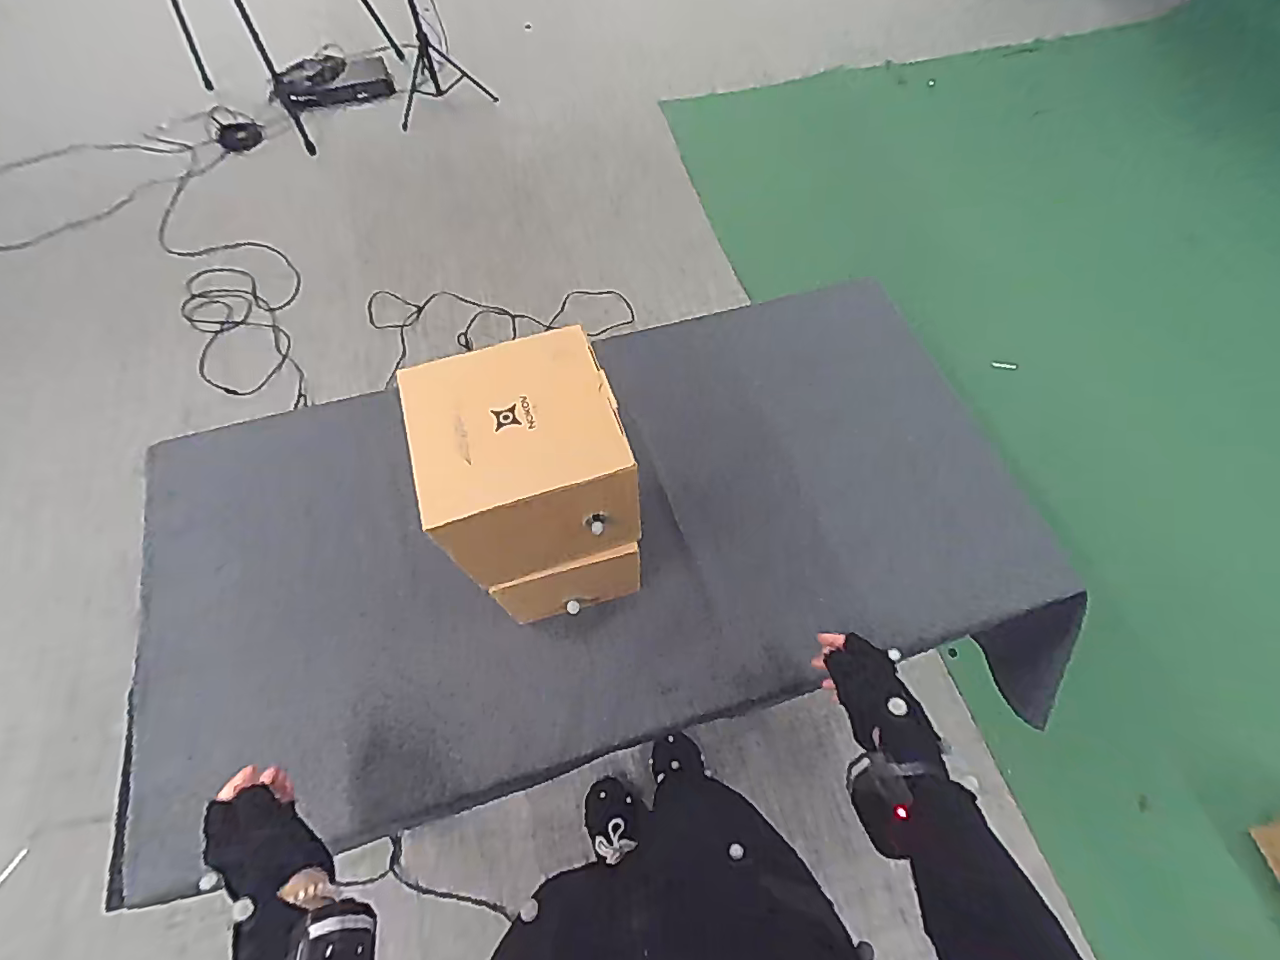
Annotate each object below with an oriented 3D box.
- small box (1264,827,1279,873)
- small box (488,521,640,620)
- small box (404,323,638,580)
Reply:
[{"bbox_3d":[1.454,0.804,1.097,0.179,0.176,0.168,-10,63,-5],"label":"small box"},{"bbox_3d":[-0.101,0.056,0.680,0.168,0.176,0.179,-14,64,-6],"label":"small box"},{"bbox_3d":[-0.107,-0.021,0.536,0.179,0.176,0.168,-17,63,-8],"label":"small box"}]
